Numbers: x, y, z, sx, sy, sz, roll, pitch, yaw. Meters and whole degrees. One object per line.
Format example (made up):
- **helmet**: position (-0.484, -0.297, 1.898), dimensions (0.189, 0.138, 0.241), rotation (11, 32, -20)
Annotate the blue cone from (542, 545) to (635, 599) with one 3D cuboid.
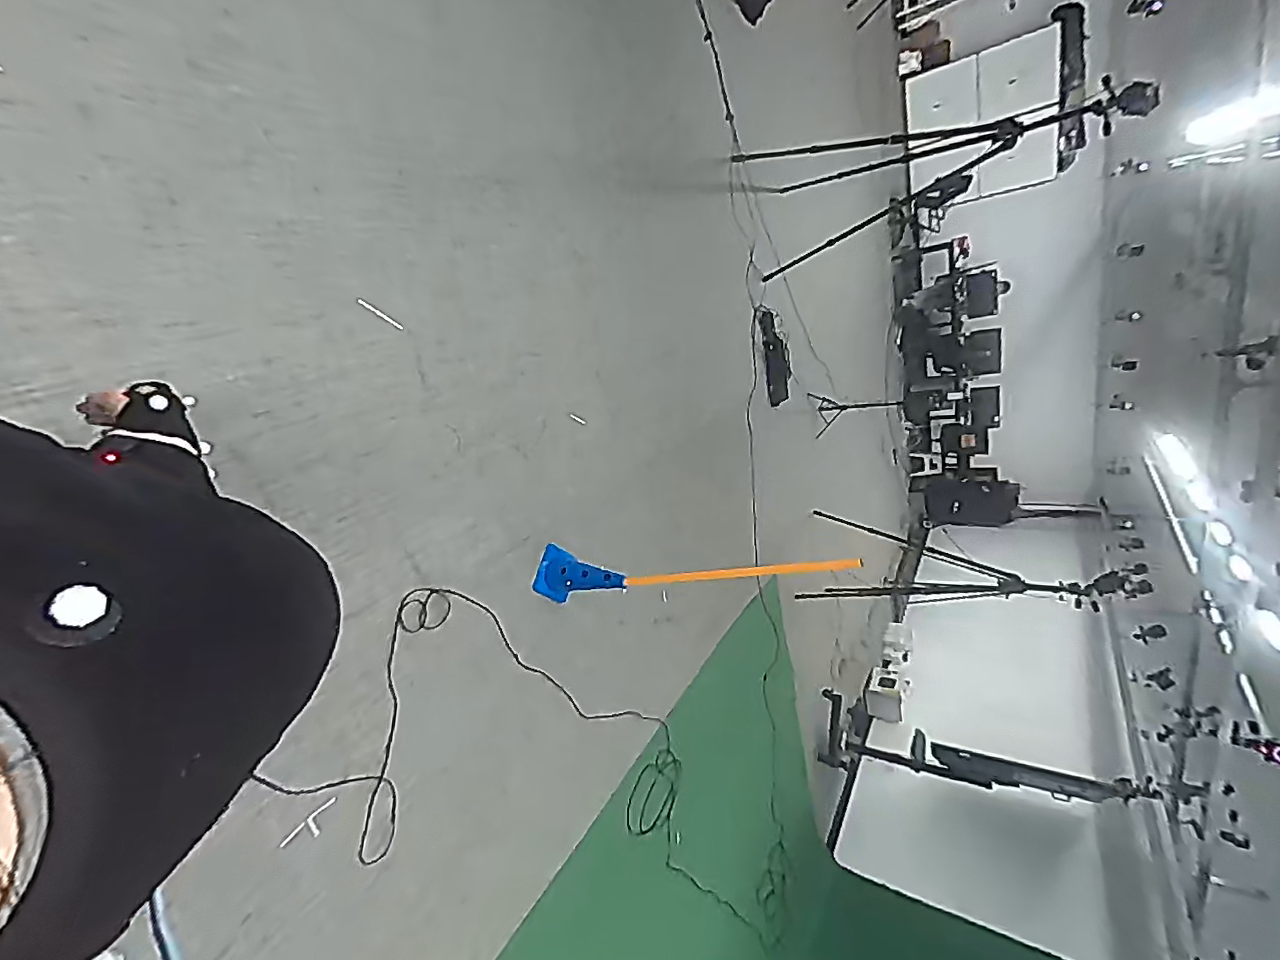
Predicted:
- **blue cone**: position (-0.185, 0.364, 2.085), dimensions (0.192, 0.380, 0.193), rotation (39, 58, -47)
